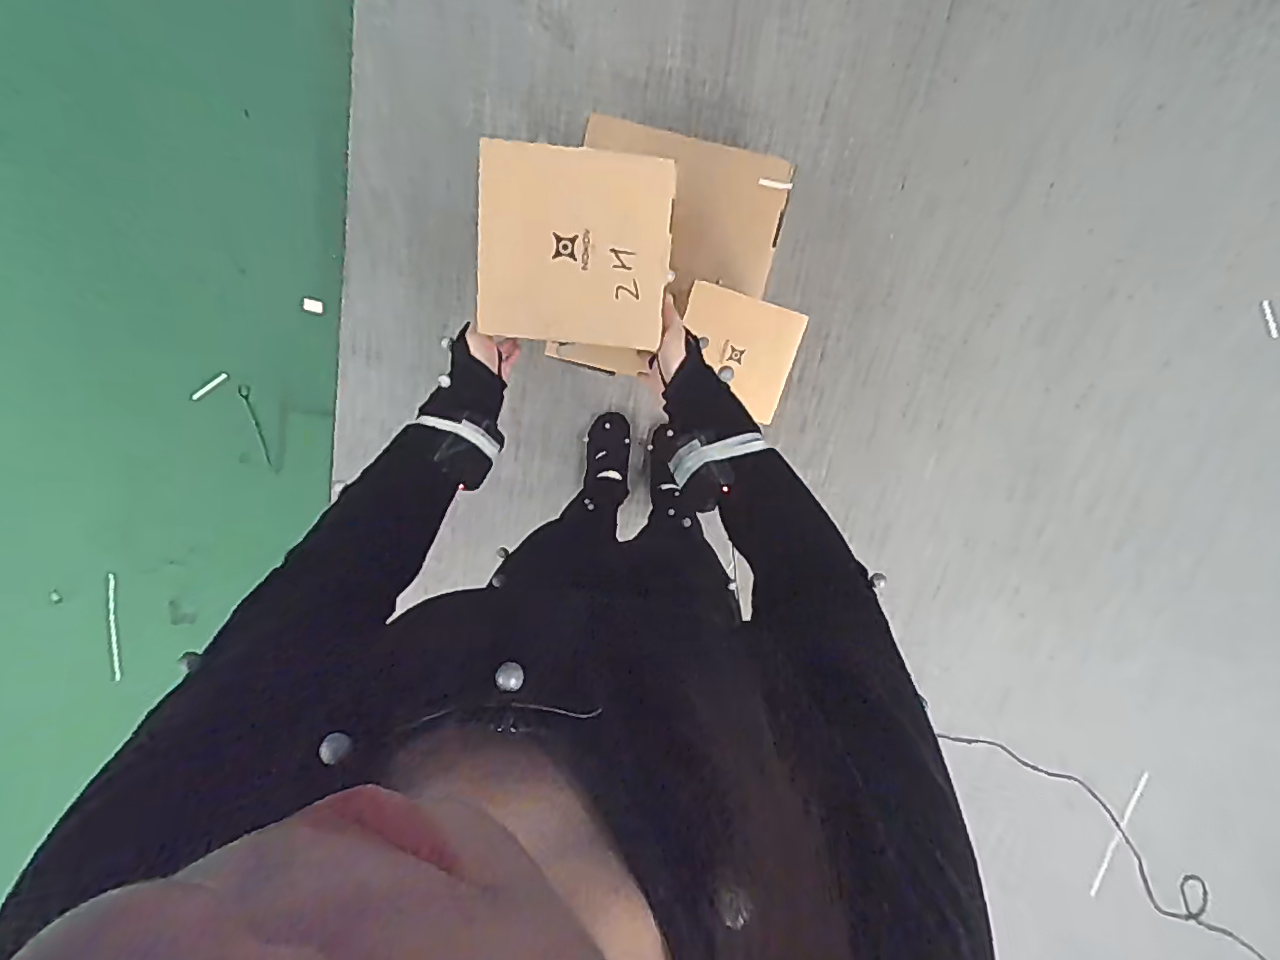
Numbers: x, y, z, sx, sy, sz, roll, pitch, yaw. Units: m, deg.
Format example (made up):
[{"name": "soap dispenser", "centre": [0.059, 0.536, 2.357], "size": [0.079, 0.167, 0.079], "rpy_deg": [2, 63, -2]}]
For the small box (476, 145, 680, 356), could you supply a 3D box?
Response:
[{"name": "small box", "centre": [-0.061, -0.223, 0.564], "size": [0.179, 0.176, 0.168], "rpy_deg": [5, 106, -3]}]

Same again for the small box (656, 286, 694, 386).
[{"name": "small box", "centre": [0.131, -0.242, 1.010], "size": [0.168, 0.176, 0.179], "rpy_deg": [17, 102, -4]}]

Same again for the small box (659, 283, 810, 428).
[{"name": "small box", "centre": [0.136, -0.196, 0.854], "size": [0.179, 0.176, 0.168], "rpy_deg": [17, 103, -3]}]
